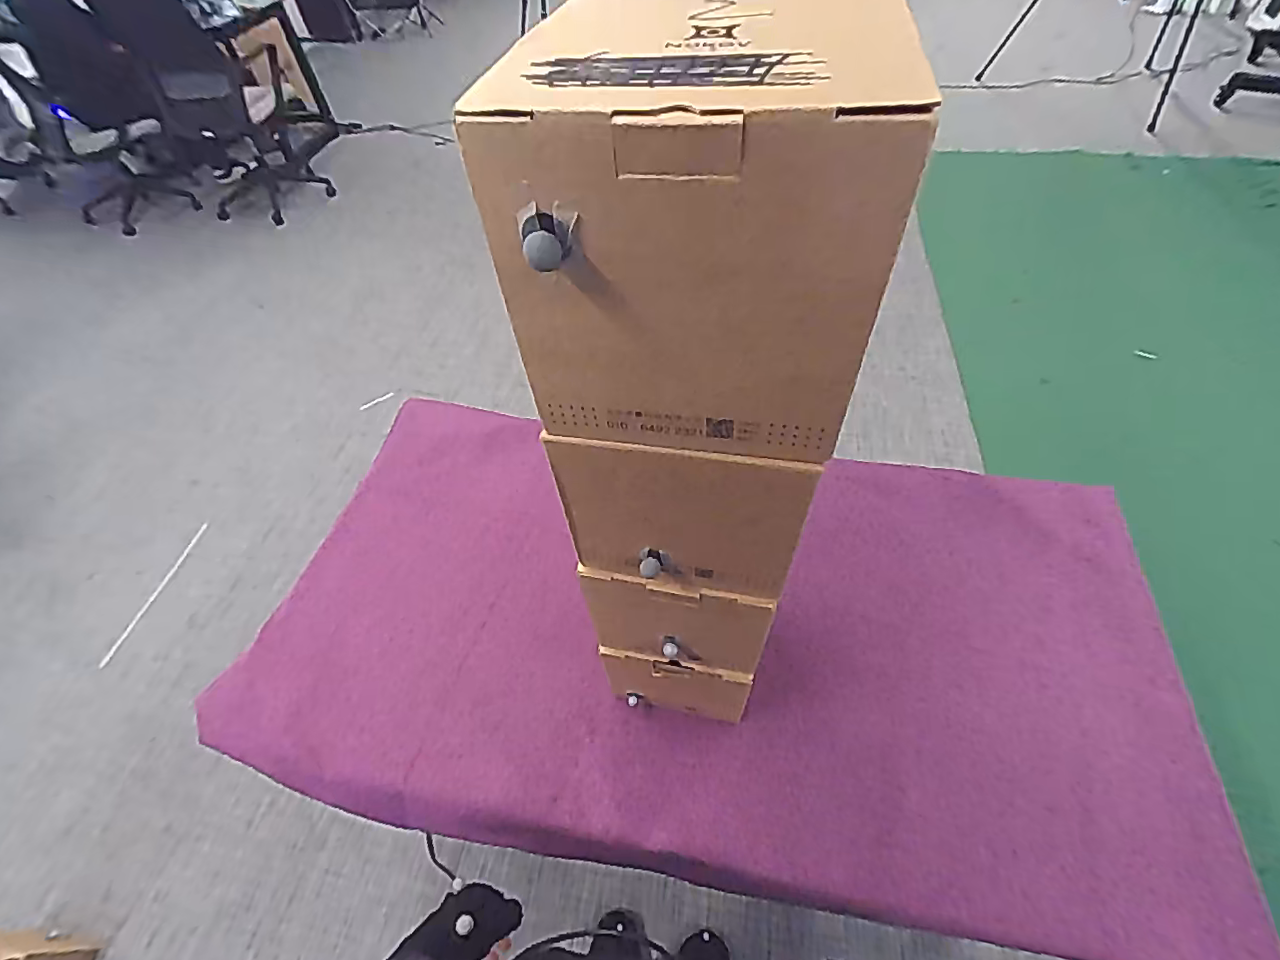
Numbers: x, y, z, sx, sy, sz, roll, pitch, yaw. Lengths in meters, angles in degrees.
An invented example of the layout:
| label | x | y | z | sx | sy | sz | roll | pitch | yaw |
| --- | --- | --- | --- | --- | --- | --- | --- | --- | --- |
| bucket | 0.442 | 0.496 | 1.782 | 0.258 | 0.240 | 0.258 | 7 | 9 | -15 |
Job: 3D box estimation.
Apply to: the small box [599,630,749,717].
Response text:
| label | x | y | z | sx | sy | sz | roll | pitch | yaw |
| --- | --- | --- | --- | --- | --- | --- | --- | --- | --- |
| small box | 0.058 | 0.178 | 0.682 | 0.168 | 0.176 | 0.179 | 9 | 53 | 10 |

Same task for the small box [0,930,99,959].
| label | x | y | z | sx | sy | sz | roll | pitch | yaw |
| --- | --- | --- | --- | --- | --- | --- | --- | --- | --- |
| small box | -1.251 | 1.002 | 1.056 | 0.179 | 0.176 | 0.168 | 5 | 53 | 9 |

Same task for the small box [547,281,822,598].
| label | x | y | z | sx | sy | sz | roll | pitch | yaw |
| --- | --- | --- | --- | --- | --- | --- | --- | --- | --- |
| small box | 0.042 | -0.031 | 0.431 | 0.168 | 0.176 | 0.179 | 8 | 53 | 10 |

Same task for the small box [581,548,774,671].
| label | x | y | z | sx | sy | sz | roll | pitch | yaw |
| --- | --- | --- | --- | --- | --- | --- | --- | --- | --- |
| small box | 0.049 | 0.071 | 0.558 | 0.168 | 0.176 | 0.179 | 8 | 54 | 11 |
